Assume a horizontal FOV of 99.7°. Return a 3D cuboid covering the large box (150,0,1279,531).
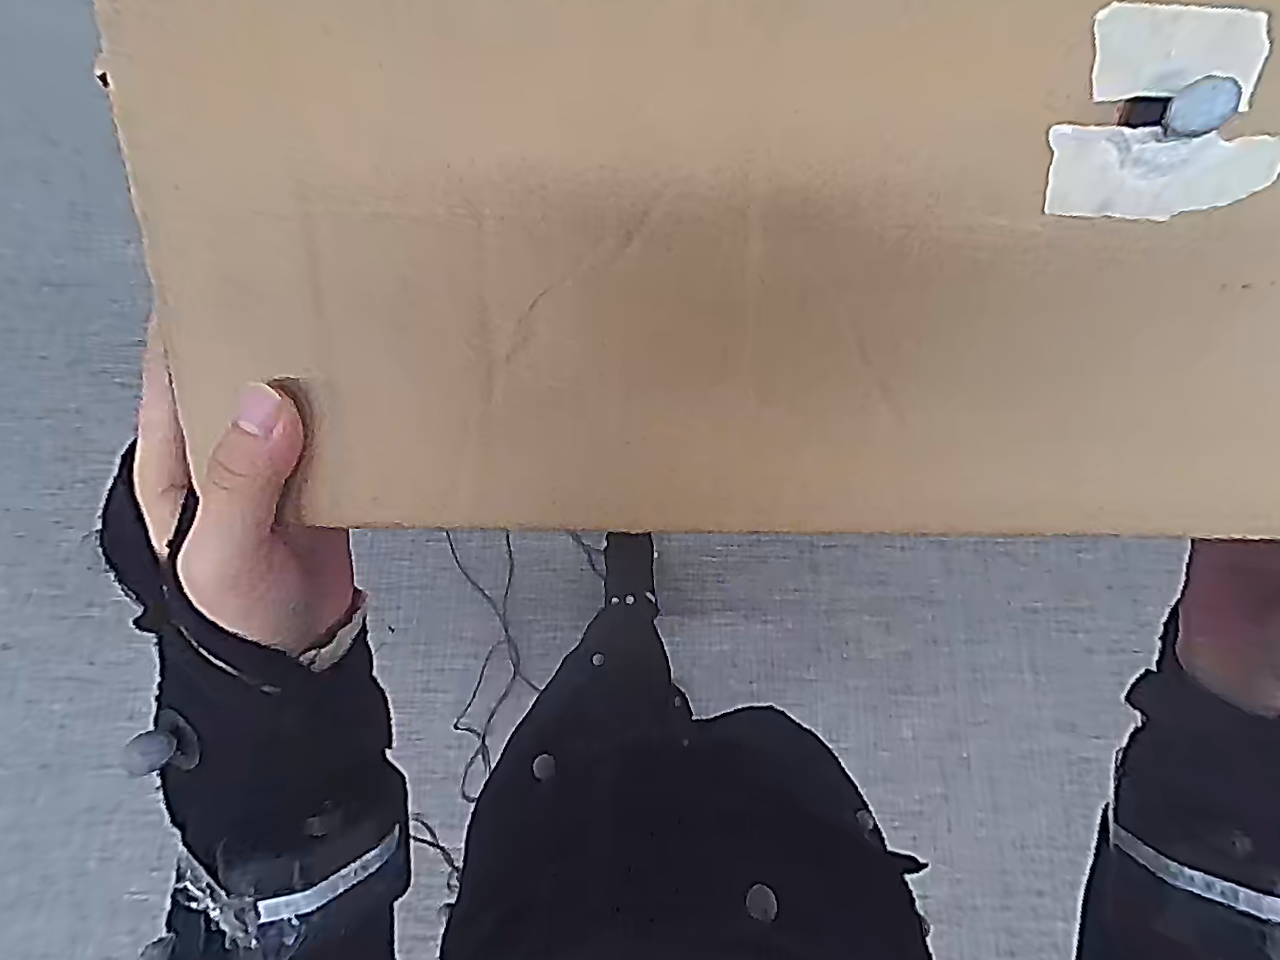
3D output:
[{"bbox_3d":[0.065,-0.167,0.291,0.408,0.320,0.320,0,103,0],"label":"large box"}]
